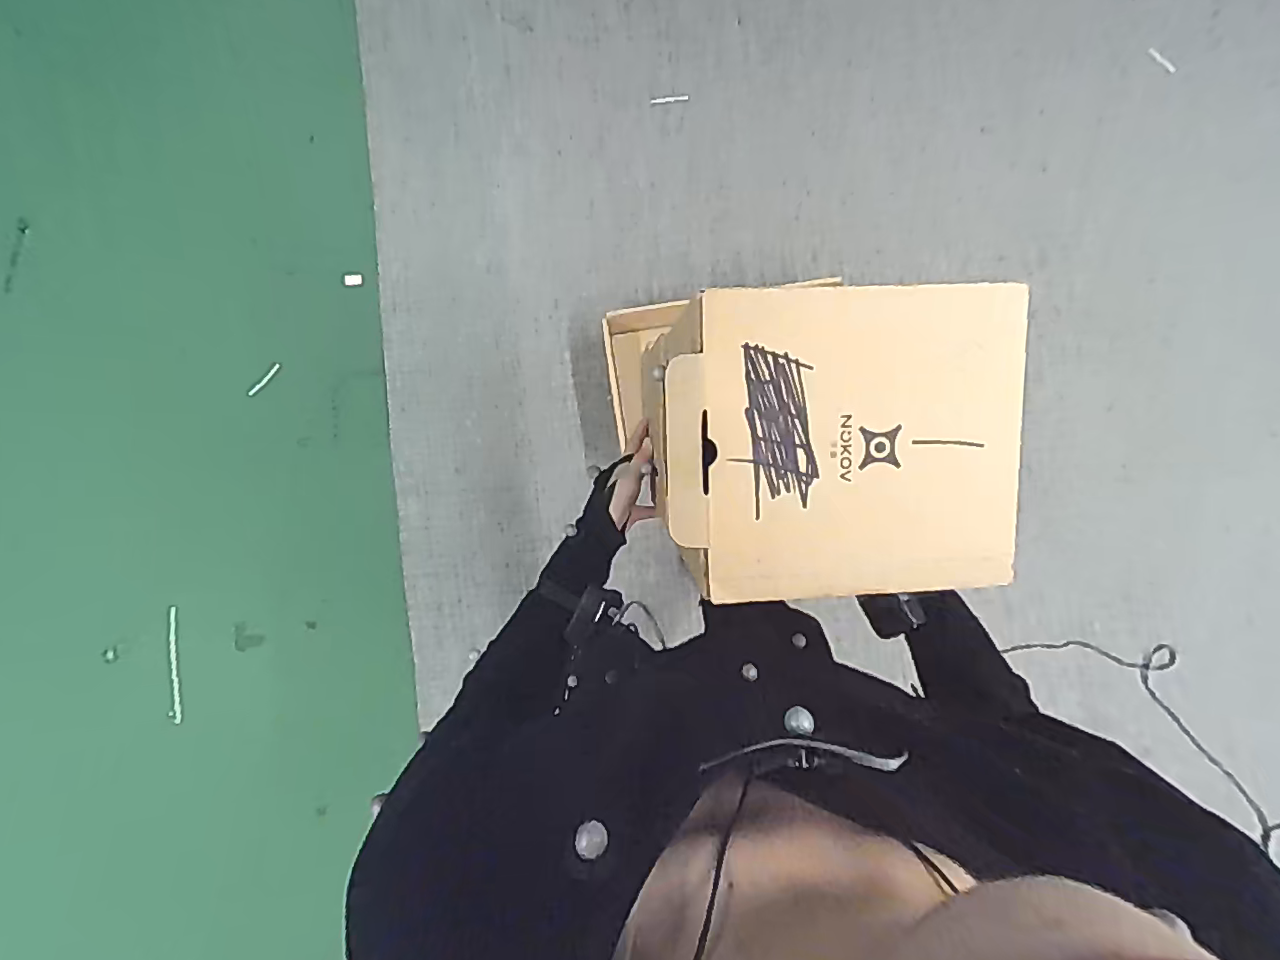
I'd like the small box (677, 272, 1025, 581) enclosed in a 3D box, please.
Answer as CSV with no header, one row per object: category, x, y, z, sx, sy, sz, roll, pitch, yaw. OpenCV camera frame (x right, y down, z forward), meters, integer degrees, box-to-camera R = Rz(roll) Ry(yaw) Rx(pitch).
small box,0.117,-0.035,0.372,0.179,0.176,0.168,-3,97,-2

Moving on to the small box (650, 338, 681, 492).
small box,0.101,-0.083,0.696,0.168,0.176,0.179,-3,94,-2
